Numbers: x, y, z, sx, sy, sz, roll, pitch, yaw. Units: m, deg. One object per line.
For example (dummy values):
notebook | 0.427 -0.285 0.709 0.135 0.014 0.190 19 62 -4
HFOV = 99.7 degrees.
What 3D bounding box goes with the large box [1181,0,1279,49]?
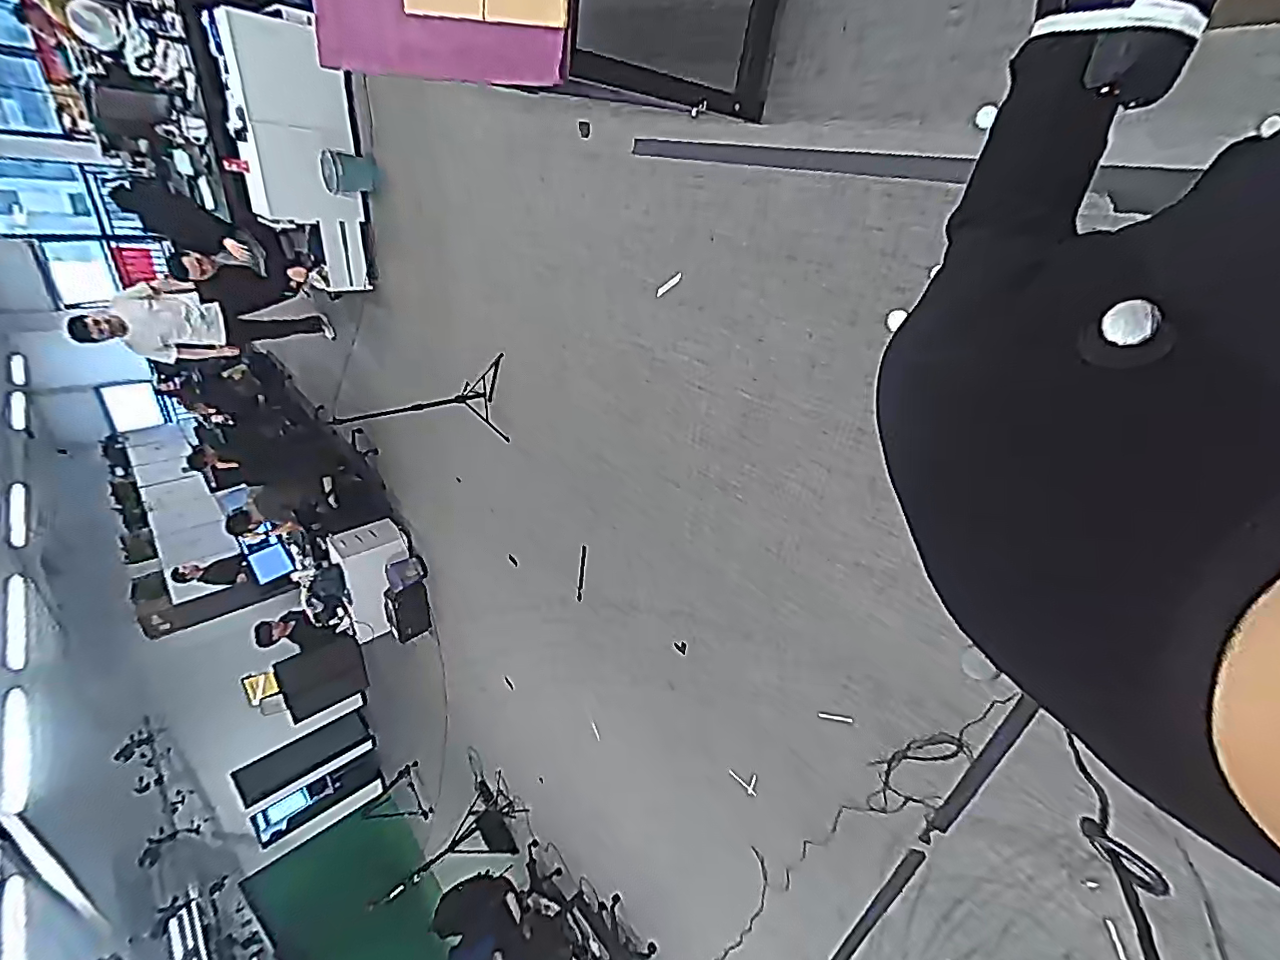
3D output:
large box | 0.567 -0.425 0.234 0.408 0.320 0.320 25 129 35
